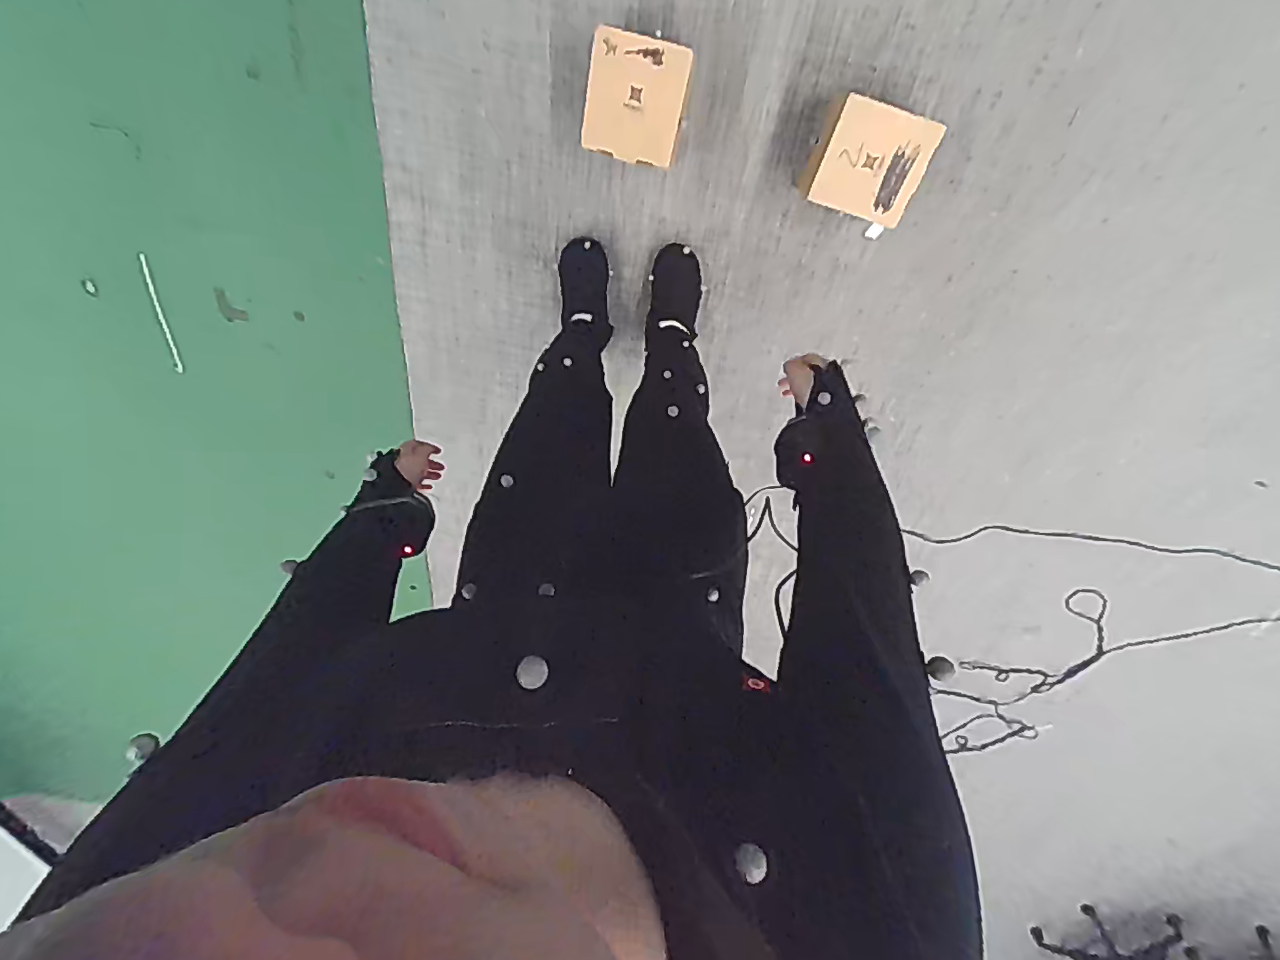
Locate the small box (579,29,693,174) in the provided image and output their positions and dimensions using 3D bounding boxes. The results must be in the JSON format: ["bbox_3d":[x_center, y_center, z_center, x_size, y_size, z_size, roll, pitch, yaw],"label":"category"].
[{"bbox_3d":[-0.003,-0.686,0.989,0.168,0.176,0.179,14,126,-2],"label":"small box"}]
